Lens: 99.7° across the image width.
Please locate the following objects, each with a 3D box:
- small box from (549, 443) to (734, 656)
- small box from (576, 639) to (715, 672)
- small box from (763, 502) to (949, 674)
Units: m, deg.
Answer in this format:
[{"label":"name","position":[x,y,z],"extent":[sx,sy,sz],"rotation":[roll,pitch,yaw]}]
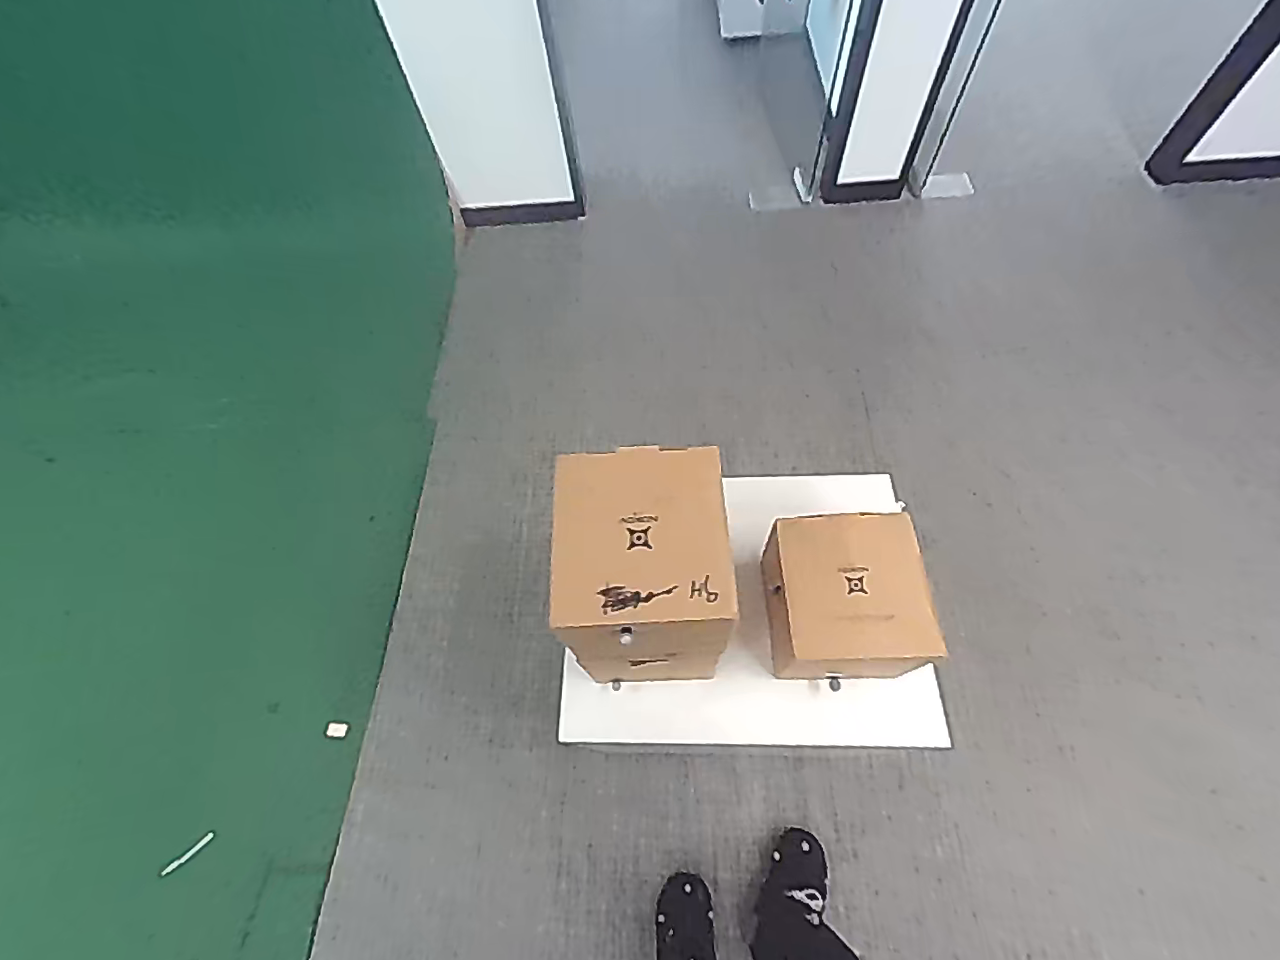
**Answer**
[{"label":"small box","position":[0.004,0.080,0.580],"extent":[0.168,0.176,0.179],"rotation":[-4,61,3]},{"label":"small box","position":[0.012,0.156,0.723],"extent":[0.168,0.176,0.179],"rotation":[-4,61,3]},{"label":"small box","position":[0.257,0.144,0.693],"extent":[0.168,0.176,0.179],"rotation":[-4,64,5]}]
